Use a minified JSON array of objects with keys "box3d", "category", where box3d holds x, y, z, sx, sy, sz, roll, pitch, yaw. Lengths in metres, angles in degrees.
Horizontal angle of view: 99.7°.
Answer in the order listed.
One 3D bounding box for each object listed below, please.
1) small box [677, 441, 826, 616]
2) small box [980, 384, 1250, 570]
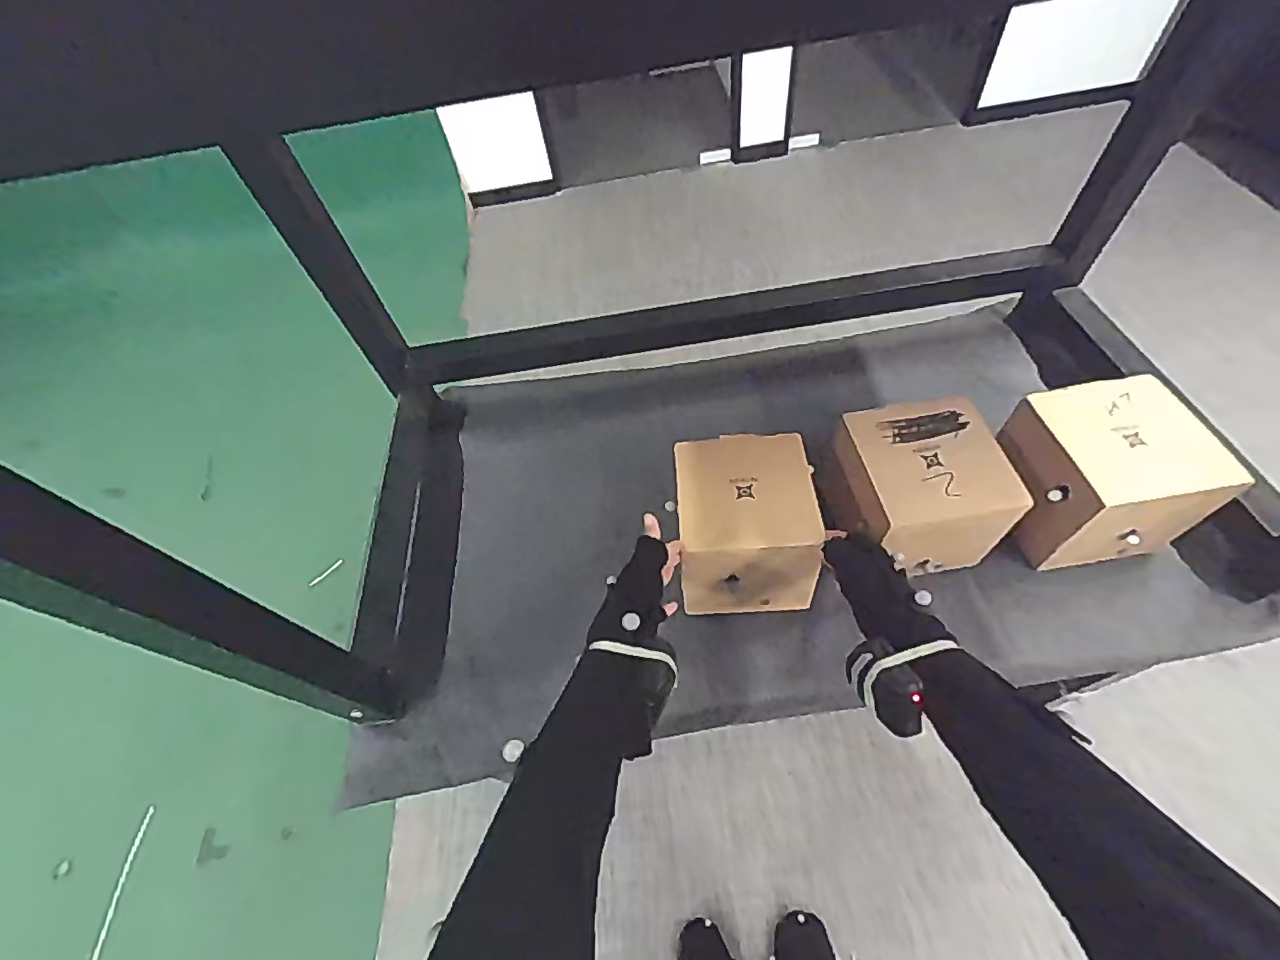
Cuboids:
[{"box3d":[0.139,0.072,0.722,0.168,0.176,0.179,-4,50,5],"category":"small box"},{"box3d":[0.595,0.005,0.711,0.168,0.176,0.179,-10,54,1],"category":"small box"}]
